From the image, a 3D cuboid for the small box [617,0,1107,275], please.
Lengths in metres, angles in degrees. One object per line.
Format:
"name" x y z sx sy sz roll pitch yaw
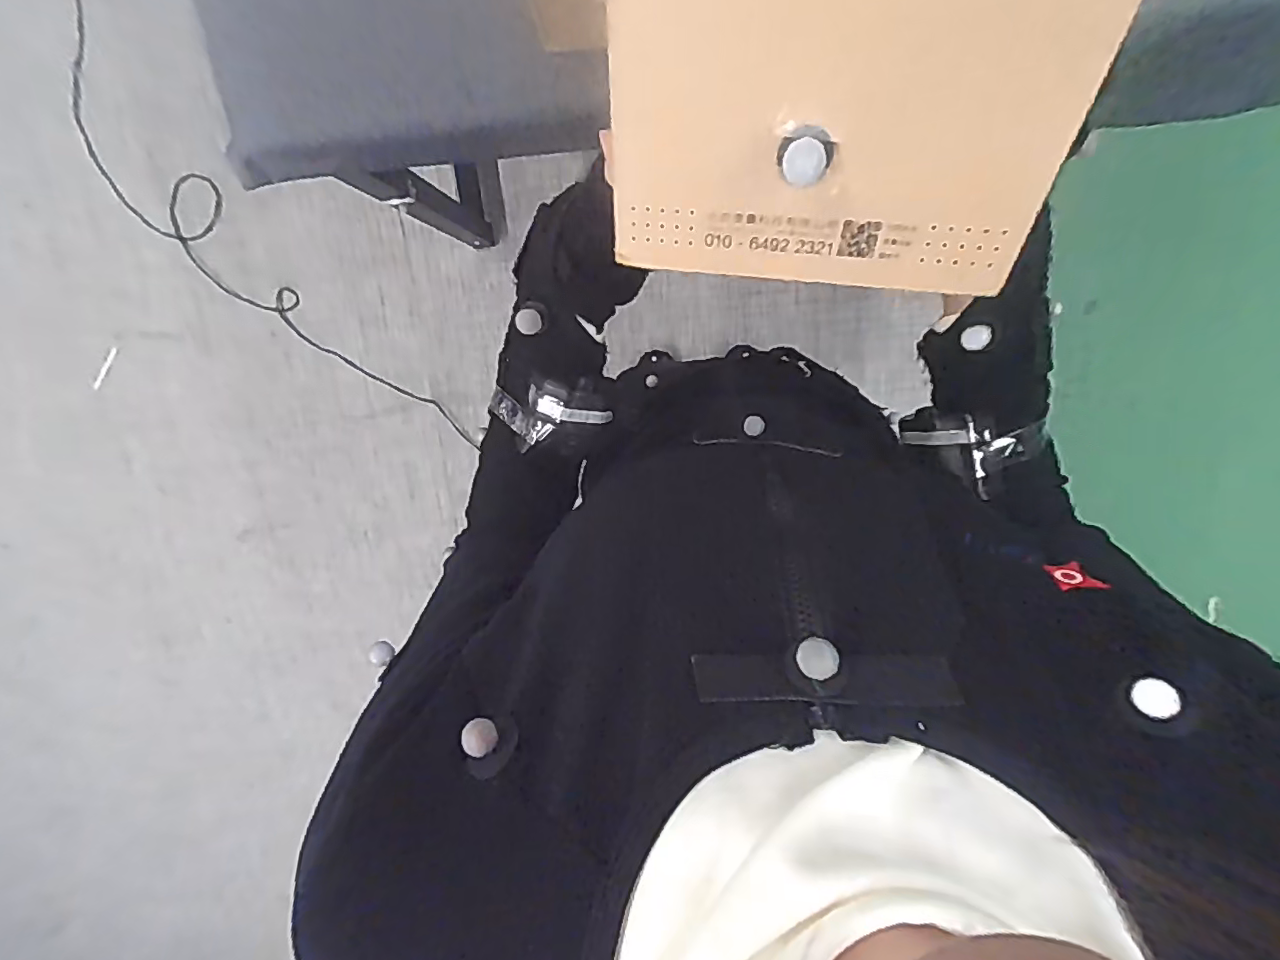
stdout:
"small box" 0.086 -0.216 0.241 0.168 0.179 0.176 9 138 9
